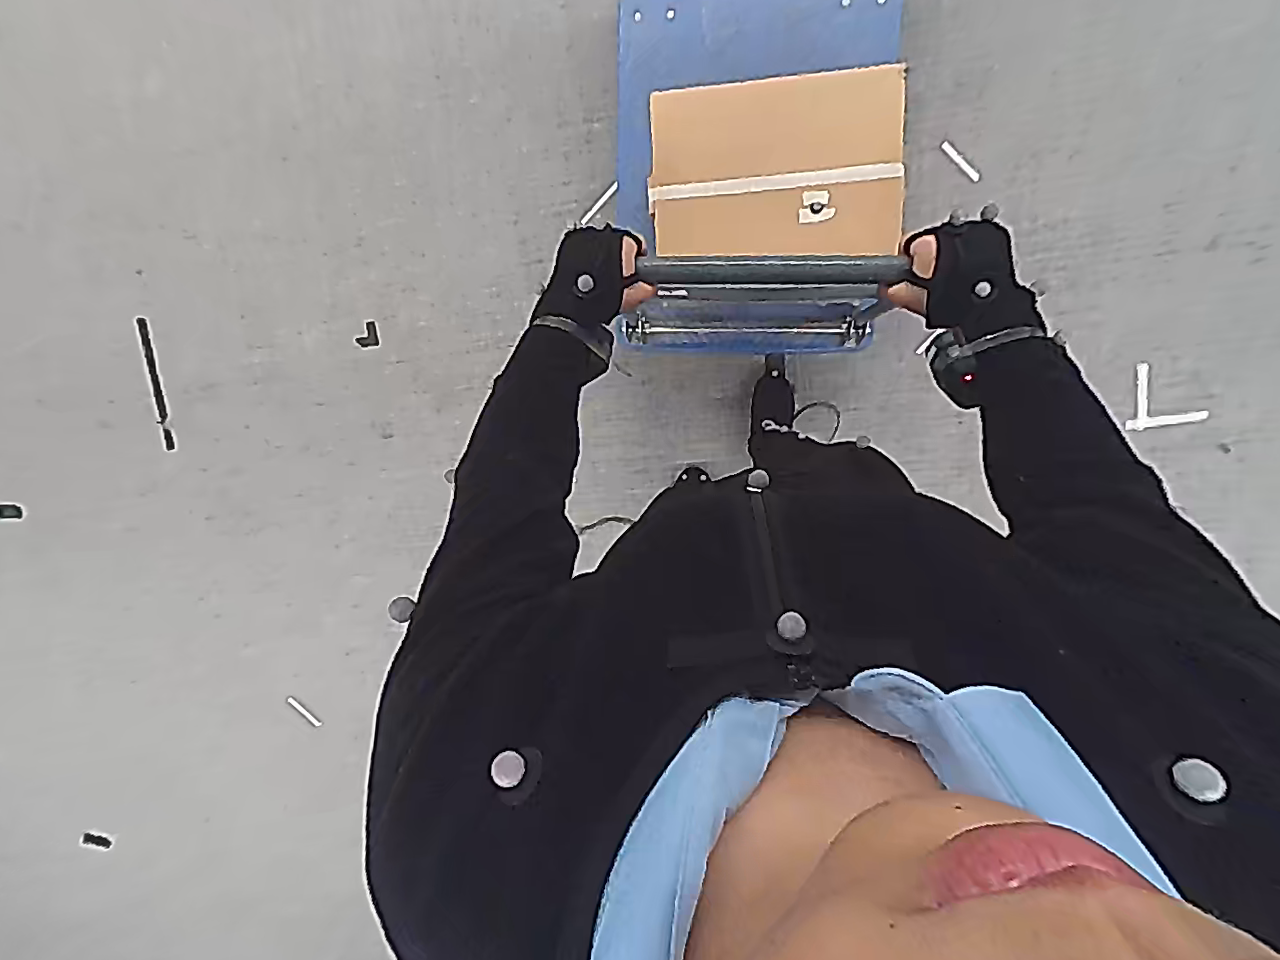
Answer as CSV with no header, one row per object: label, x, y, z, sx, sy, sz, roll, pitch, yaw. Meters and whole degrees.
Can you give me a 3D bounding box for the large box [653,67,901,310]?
large box,0.244,-0.526,1.055,0.408,0.320,0.320,-2,101,7
